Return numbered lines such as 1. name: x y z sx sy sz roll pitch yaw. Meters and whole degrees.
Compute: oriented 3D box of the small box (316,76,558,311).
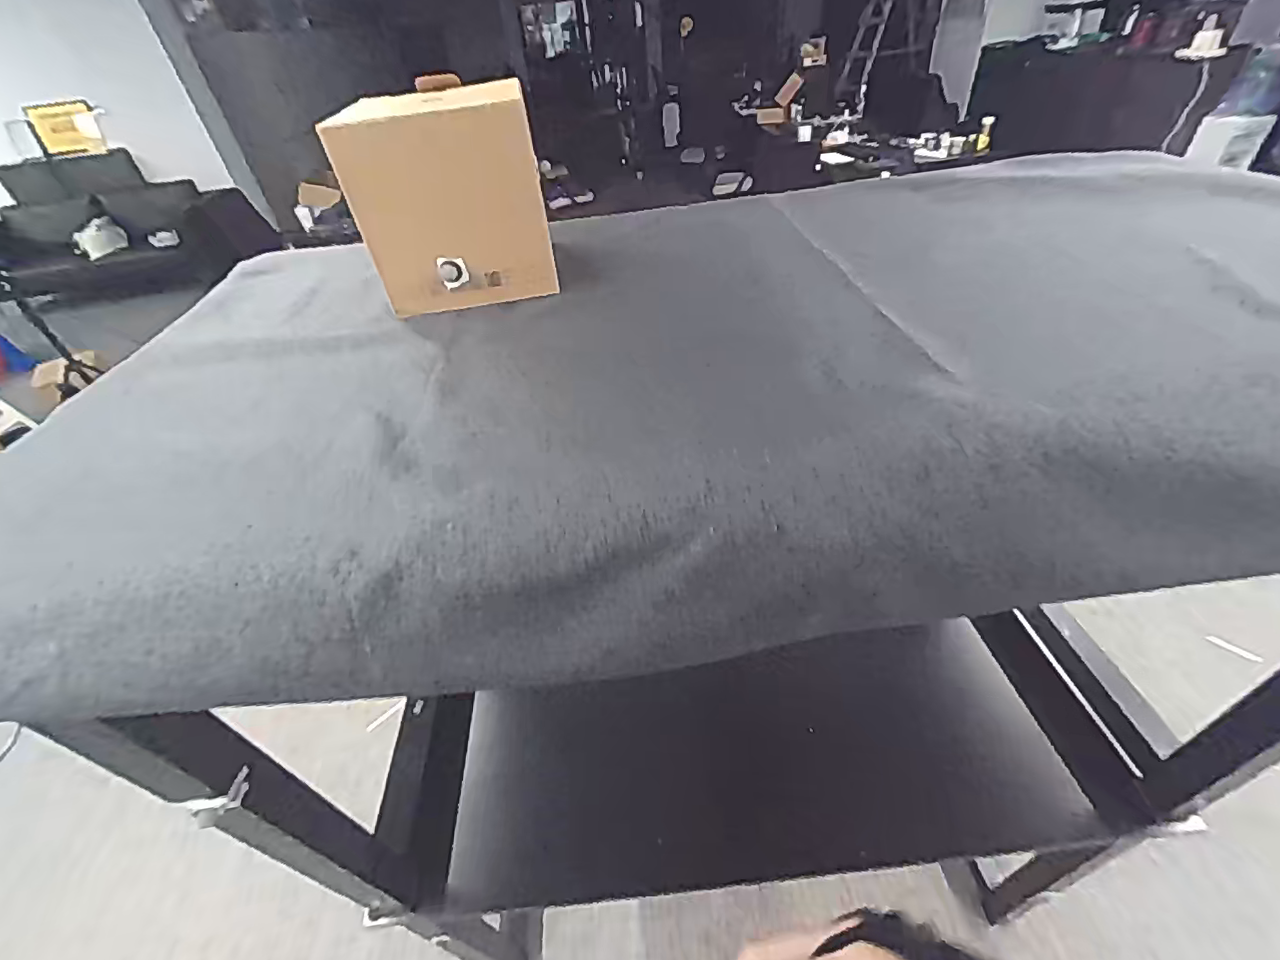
1. small box: -0.182 -0.289 0.544 0.168 0.176 0.179 -11 41 -4
